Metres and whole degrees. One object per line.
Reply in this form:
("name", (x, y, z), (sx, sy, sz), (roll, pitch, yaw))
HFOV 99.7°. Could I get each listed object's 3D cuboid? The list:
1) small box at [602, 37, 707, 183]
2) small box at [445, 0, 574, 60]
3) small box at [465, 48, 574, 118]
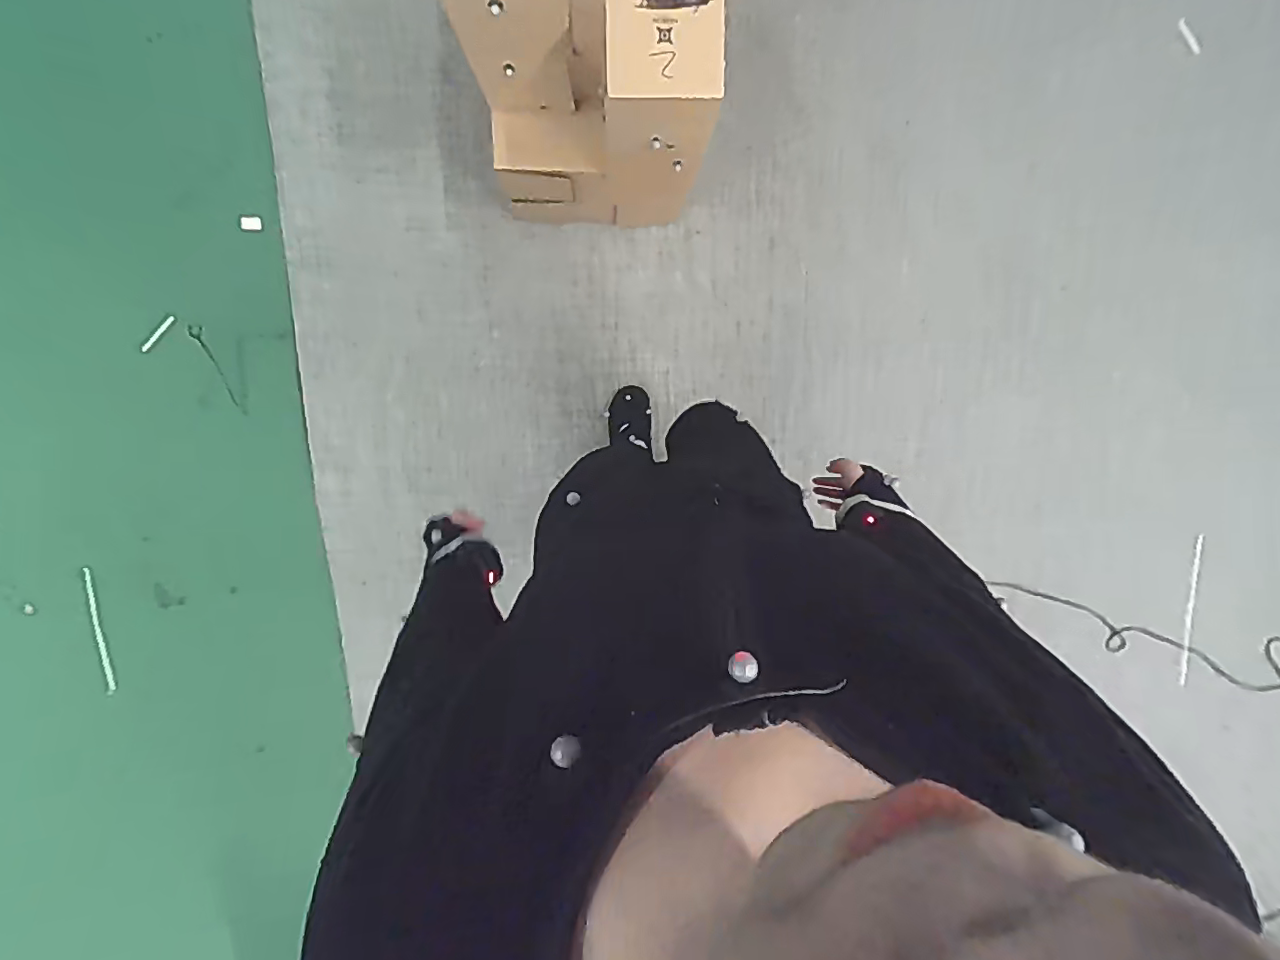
("small box", (0.021, -0.660, 0.982), (0.179, 0.176, 0.168), (-2, 98, -2))
("small box", (-0.196, -0.754, 0.792), (0.179, 0.176, 0.168), (-1, 98, -1))
("small box", (-0.208, -0.781, 0.956), (0.168, 0.176, 0.179), (-1, 97, -2))
